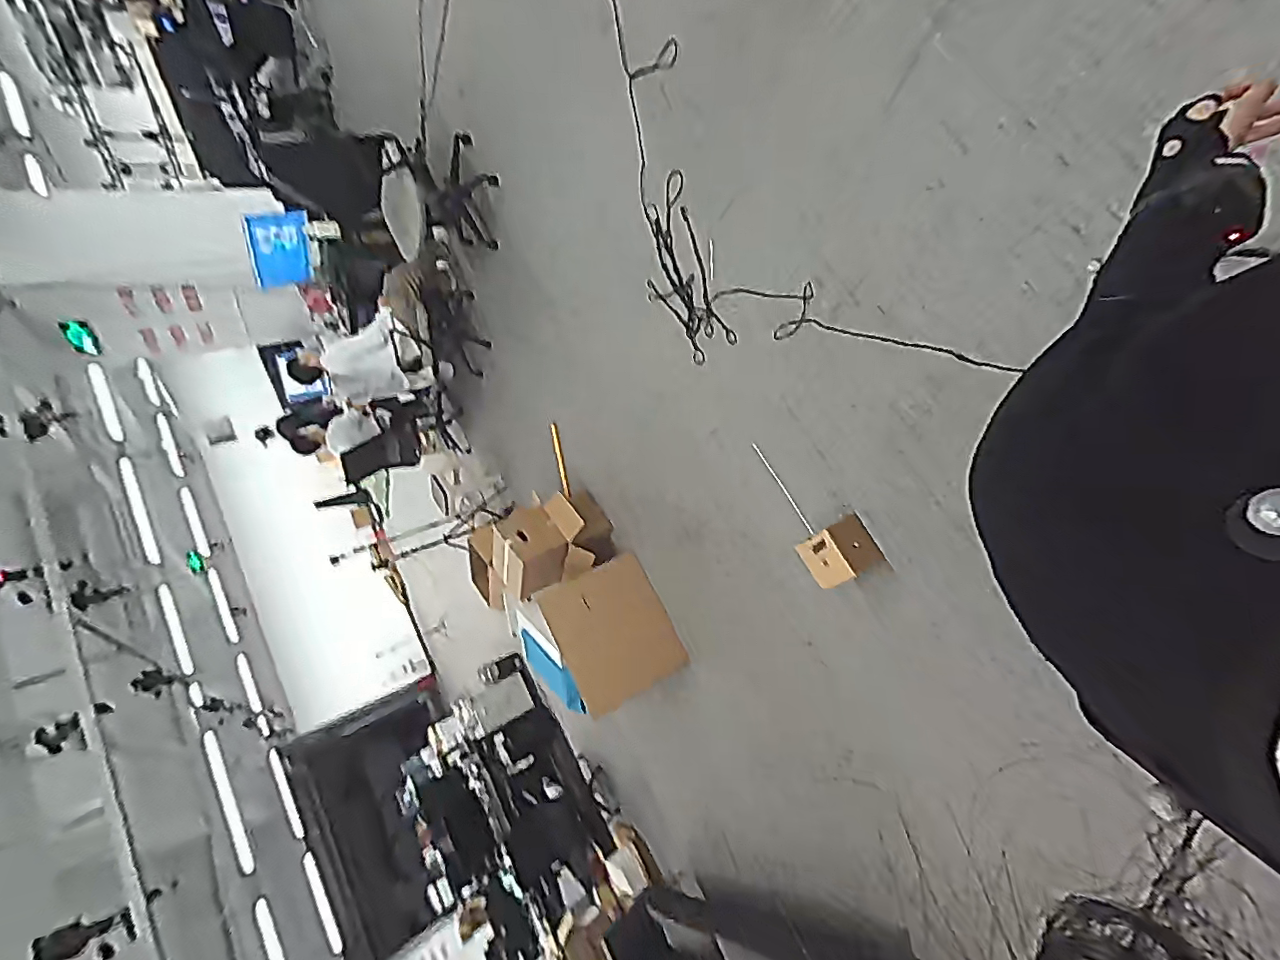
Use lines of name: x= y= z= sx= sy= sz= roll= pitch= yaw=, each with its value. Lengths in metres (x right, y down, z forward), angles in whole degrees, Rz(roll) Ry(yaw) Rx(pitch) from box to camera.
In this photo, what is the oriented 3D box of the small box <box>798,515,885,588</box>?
small box: x=0.678 y=0.235 z=1.821 sx=0.179 sy=0.176 sz=0.168 roll=59 pitch=147 yaw=13
